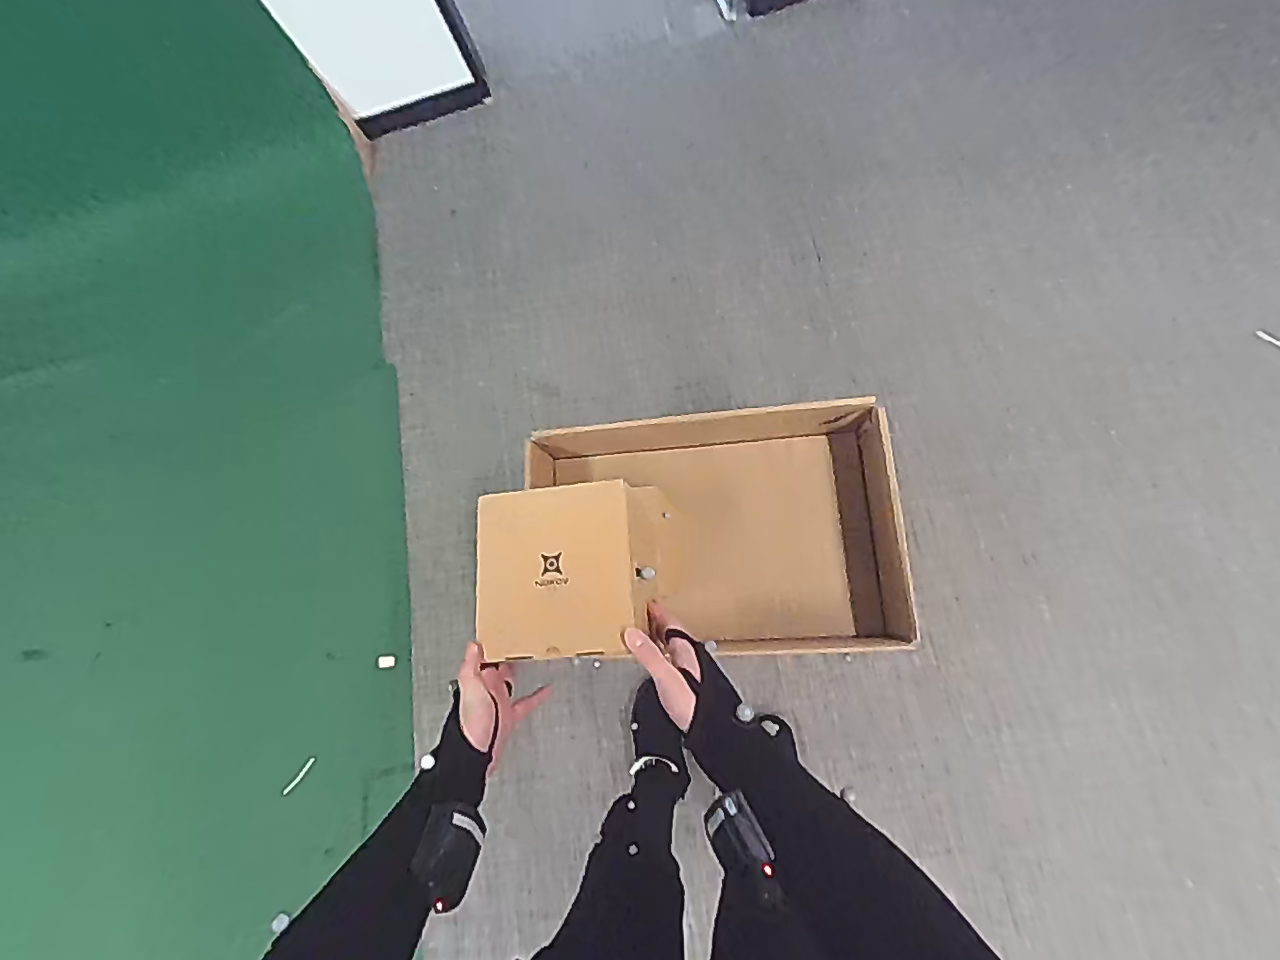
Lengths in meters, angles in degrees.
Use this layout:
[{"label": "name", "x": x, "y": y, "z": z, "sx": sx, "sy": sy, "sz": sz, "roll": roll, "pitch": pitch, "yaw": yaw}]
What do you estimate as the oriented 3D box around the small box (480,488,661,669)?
[{"label": "small box", "x": -0.070, "y": 0.118, "z": 0.624, "sx": 0.168, "sy": 0.176, "sz": 0.179, "roll": -6, "pitch": 75, "yaw": 9}]
